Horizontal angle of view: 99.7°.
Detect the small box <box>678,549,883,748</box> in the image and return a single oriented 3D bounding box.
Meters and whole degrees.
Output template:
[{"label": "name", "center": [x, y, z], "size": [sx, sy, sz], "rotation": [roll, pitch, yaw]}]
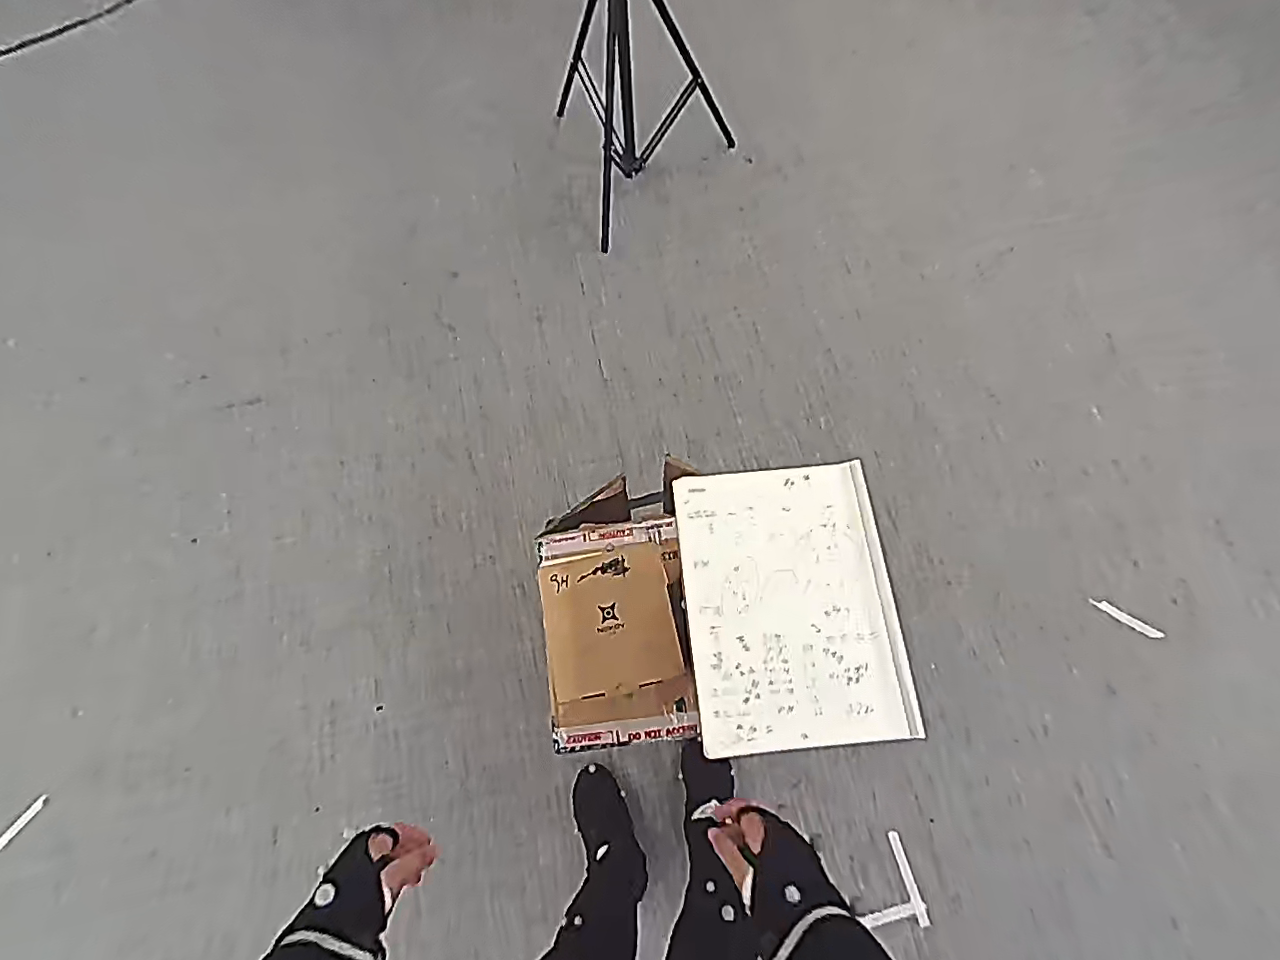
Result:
[{"label": "small box", "center": [0.137, 0.181, 0.598], "size": [0.168, 0.176, 0.179], "rotation": [-5, 74, -2]}]
